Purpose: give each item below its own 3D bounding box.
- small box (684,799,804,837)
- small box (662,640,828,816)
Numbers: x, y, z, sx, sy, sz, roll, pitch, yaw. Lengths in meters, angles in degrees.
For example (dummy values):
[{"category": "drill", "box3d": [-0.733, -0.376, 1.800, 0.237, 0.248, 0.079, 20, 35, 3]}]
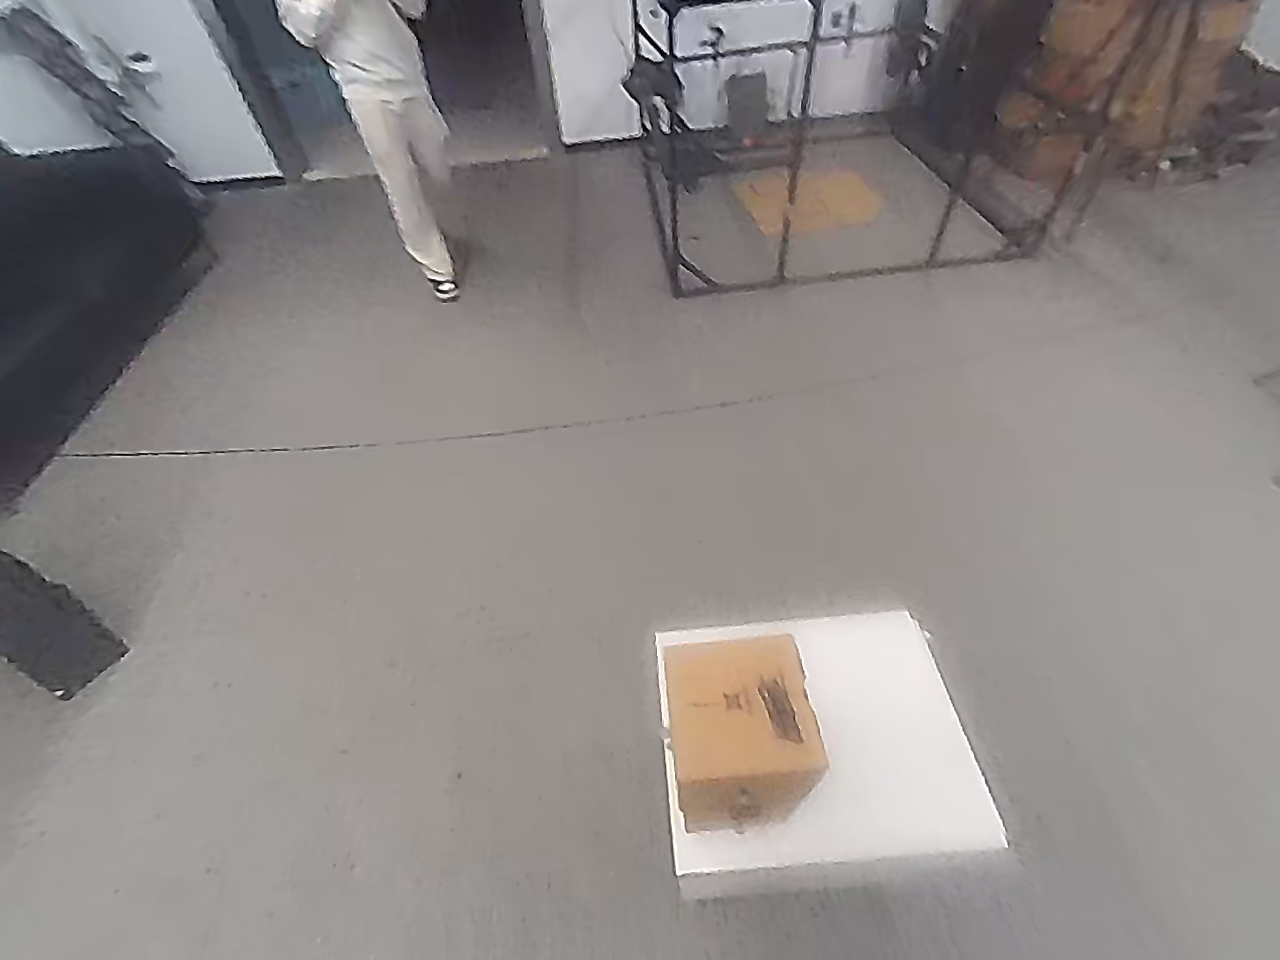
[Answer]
[{"category": "small box", "box3d": [0.140, 0.432, 0.841, 0.168, 0.176, 0.179, -7, 49, 0]}, {"category": "small box", "box3d": [0.125, 0.329, 0.713, 0.179, 0.176, 0.168, -7, 48, 1]}]
